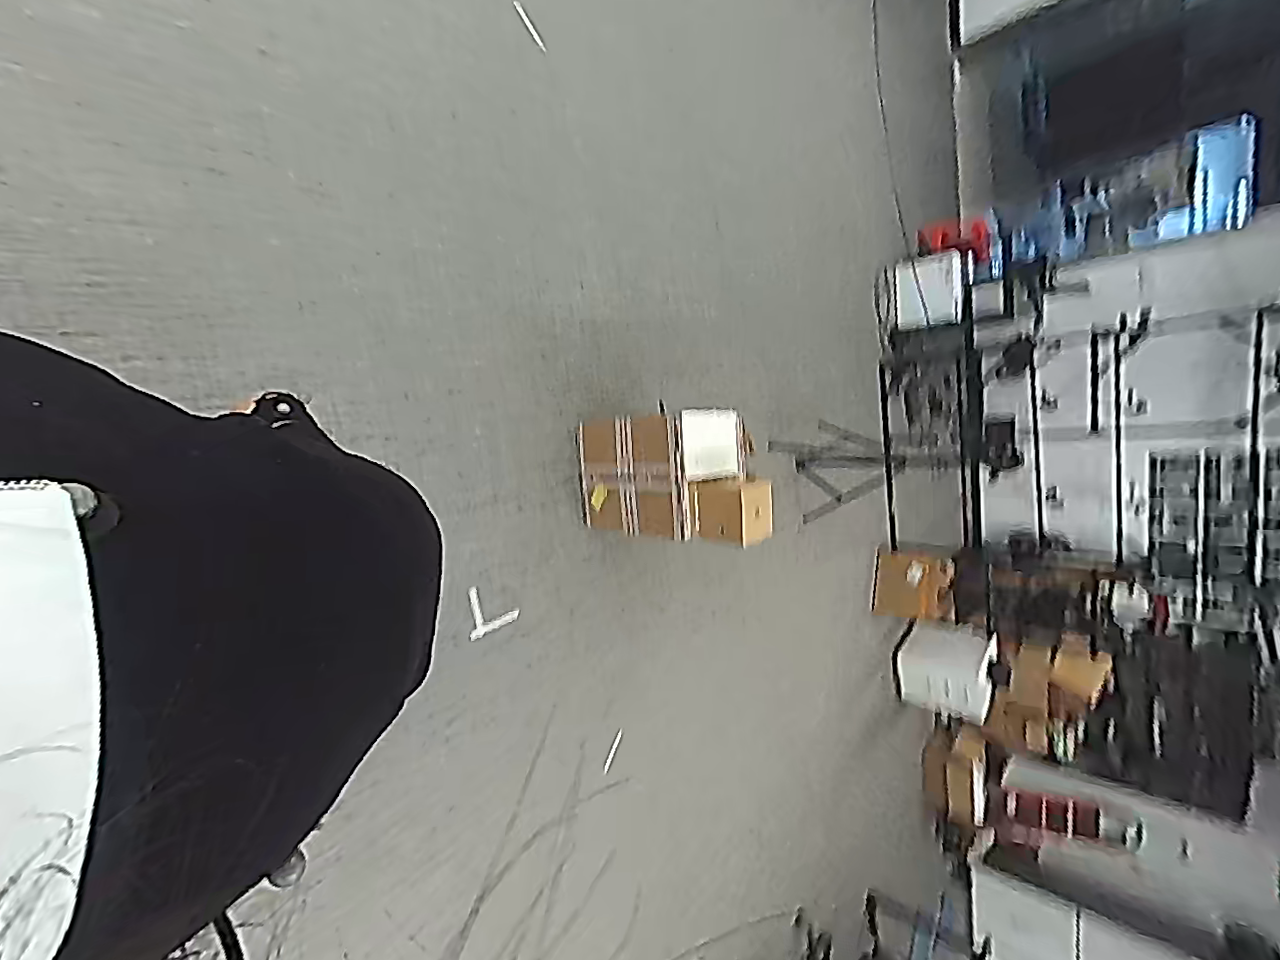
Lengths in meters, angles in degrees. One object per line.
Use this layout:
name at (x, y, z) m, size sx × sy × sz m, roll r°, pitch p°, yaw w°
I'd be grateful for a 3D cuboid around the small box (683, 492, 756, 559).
small box at (0.251, 0.137, 1.714) m, size 0.168 × 0.176 × 0.179 m, roll -11°, pitch 100°, yaw -45°
